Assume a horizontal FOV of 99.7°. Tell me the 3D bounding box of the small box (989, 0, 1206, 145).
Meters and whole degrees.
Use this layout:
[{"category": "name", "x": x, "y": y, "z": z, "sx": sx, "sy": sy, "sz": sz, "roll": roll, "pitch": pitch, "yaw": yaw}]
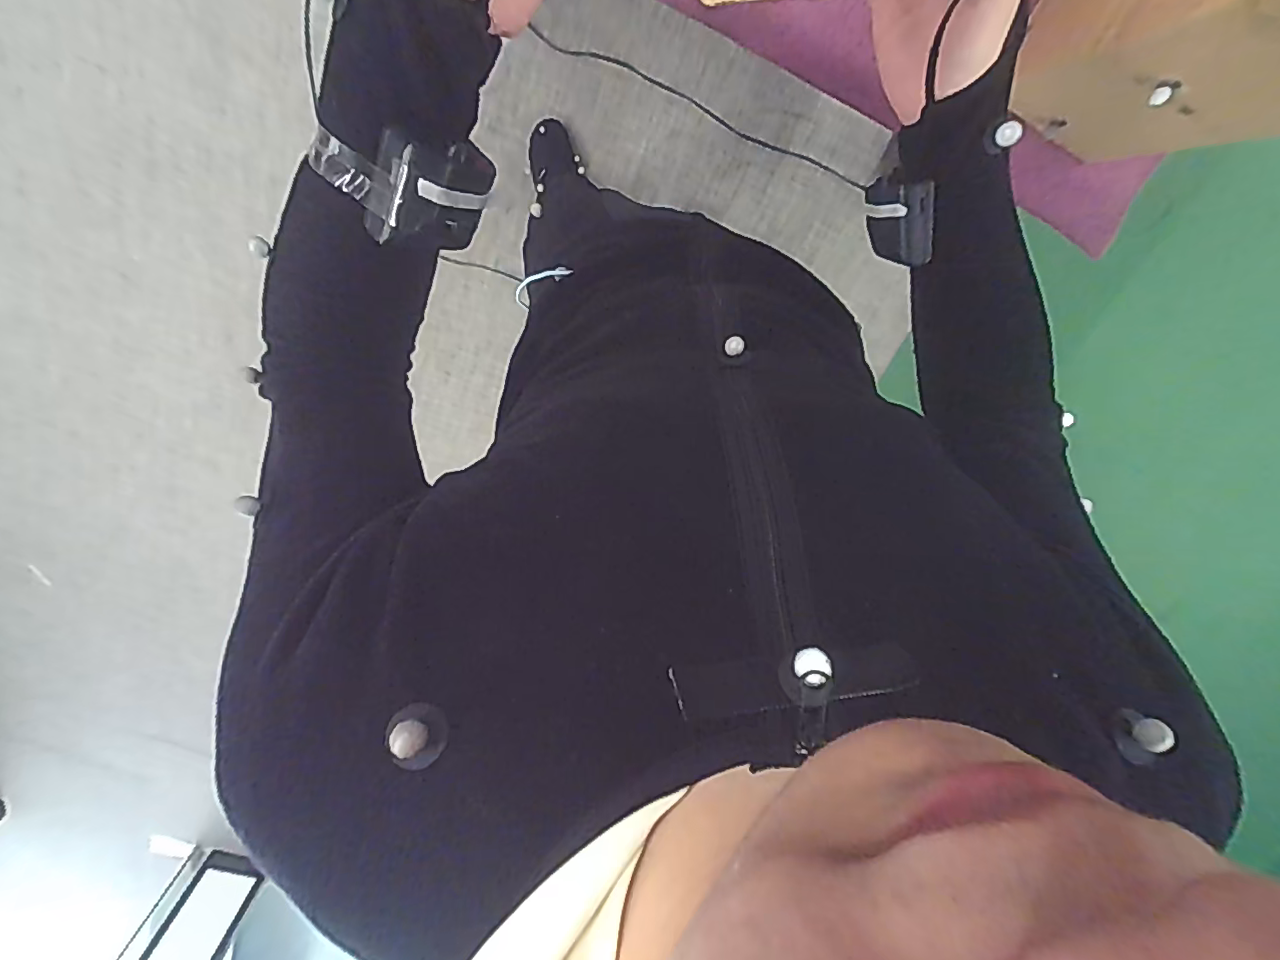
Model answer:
[{"category": "small box", "x": 0.530, "y": -0.482, "z": 0.571, "sx": 0.179, "sy": 0.176, "sz": 0.168, "roll": 24, "pitch": 113, "yaw": -11}]
